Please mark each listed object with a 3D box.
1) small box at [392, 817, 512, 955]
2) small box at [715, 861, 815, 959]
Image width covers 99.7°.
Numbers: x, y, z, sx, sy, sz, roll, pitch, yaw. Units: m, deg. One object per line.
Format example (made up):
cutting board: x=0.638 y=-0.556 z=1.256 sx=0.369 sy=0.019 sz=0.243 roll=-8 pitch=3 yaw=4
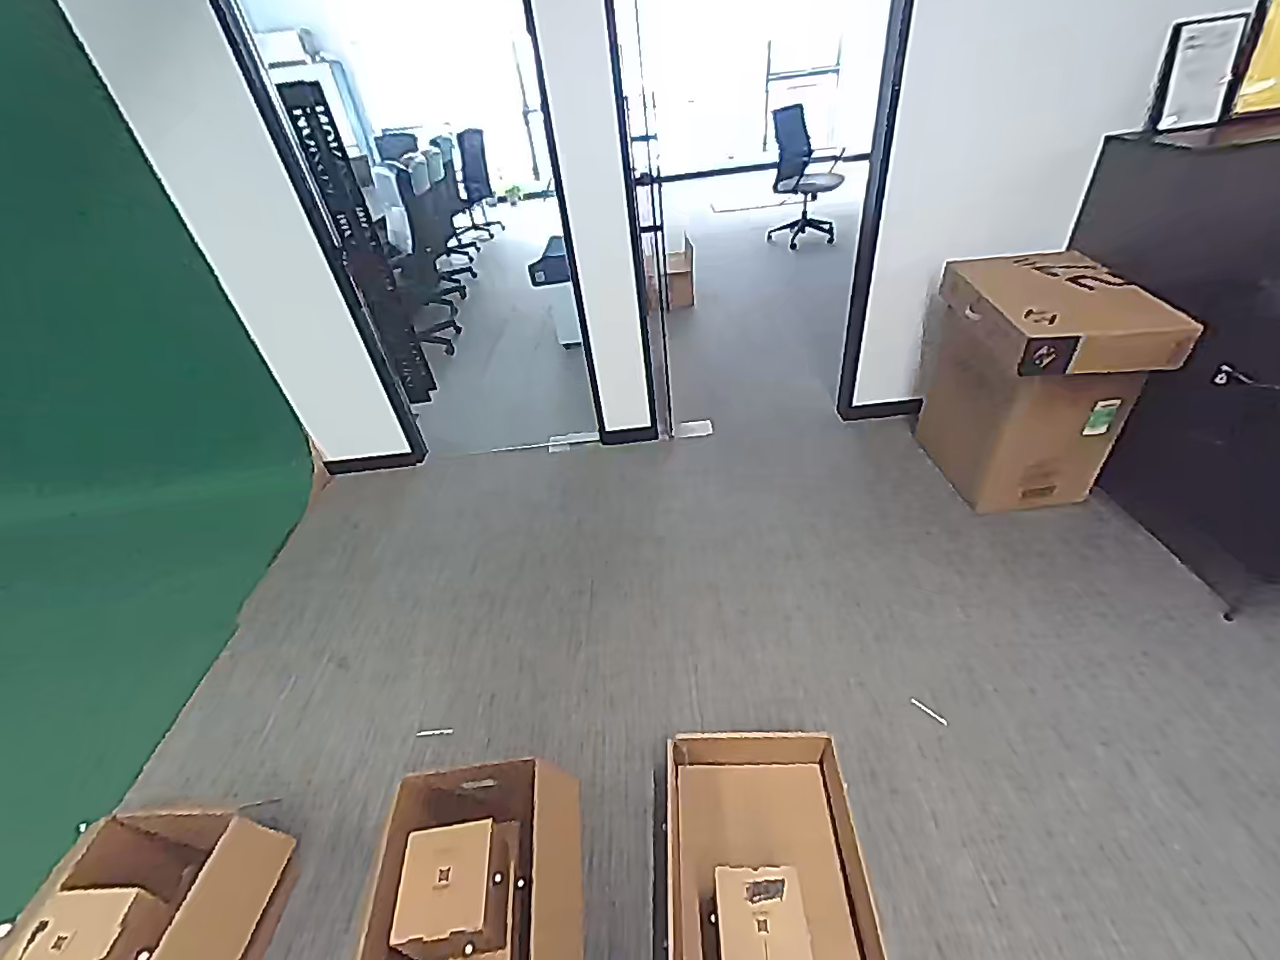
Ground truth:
small box: x=-0.353 y=0.795 z=1.055 sx=0.168 sy=0.176 sz=0.179 roll=-8 pitch=39 yaw=-2
small box: x=0.237 y=0.882 z=1.063 sx=0.168 sy=0.176 sz=0.179 roll=-4 pitch=37 yaw=4
